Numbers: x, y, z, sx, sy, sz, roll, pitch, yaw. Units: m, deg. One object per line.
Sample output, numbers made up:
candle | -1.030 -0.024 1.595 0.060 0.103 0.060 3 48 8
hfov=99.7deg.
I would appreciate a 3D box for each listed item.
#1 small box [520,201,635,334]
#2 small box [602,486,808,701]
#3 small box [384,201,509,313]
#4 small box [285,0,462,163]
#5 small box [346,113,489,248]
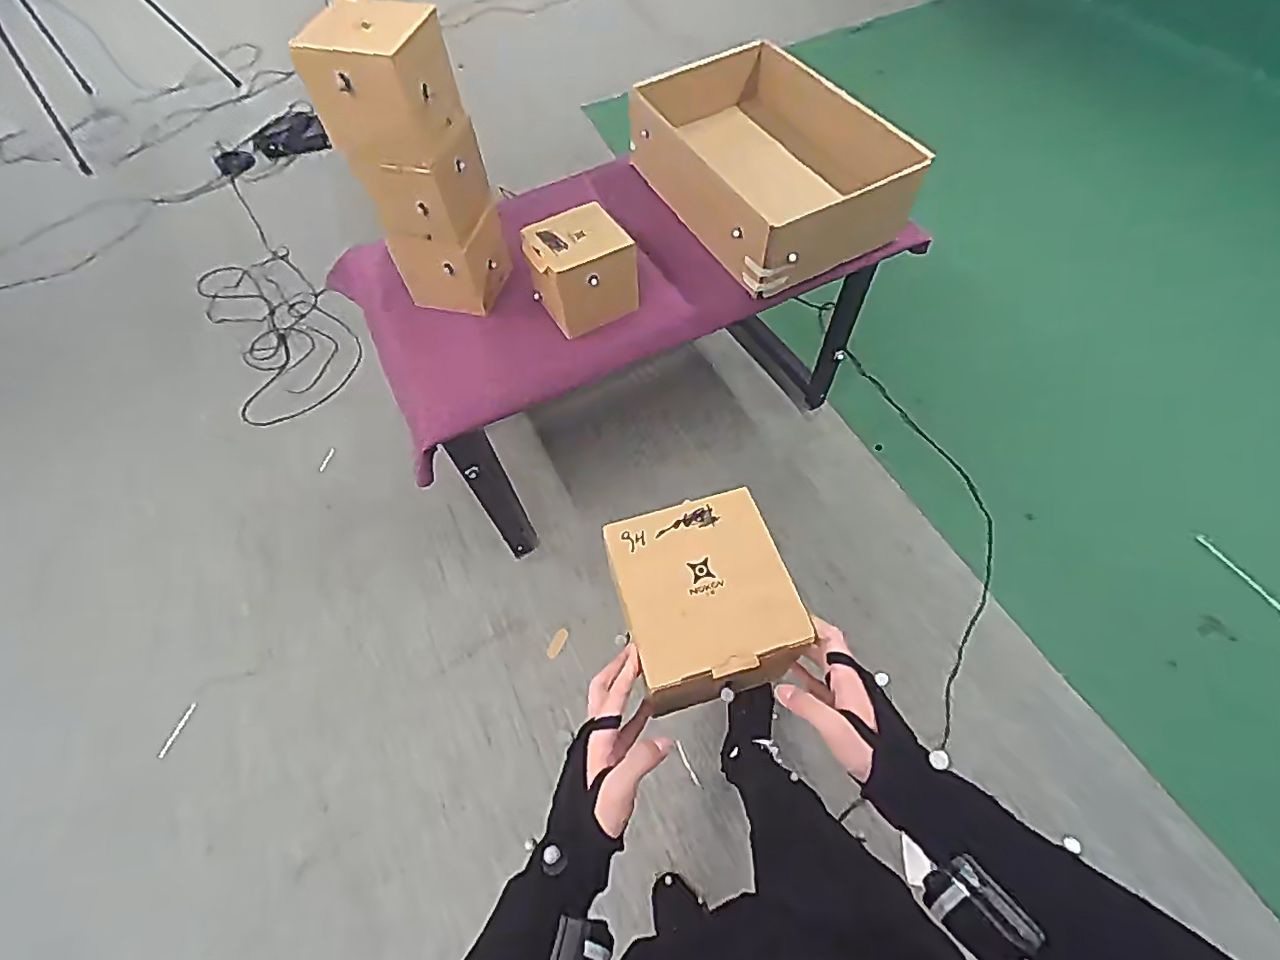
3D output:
small box | -0.122 -0.435 1.124 0.179 0.176 0.168 -28 62 -13
small box | 0.062 0.136 0.607 0.168 0.176 0.179 -14 60 -7
small box | -0.404 -0.486 1.167 0.179 0.176 0.168 12 61 9
small box | -0.417 -0.649 0.887 0.179 0.176 0.168 10 62 7
small box | -0.407 -0.571 1.029 0.168 0.176 0.179 12 62 8
